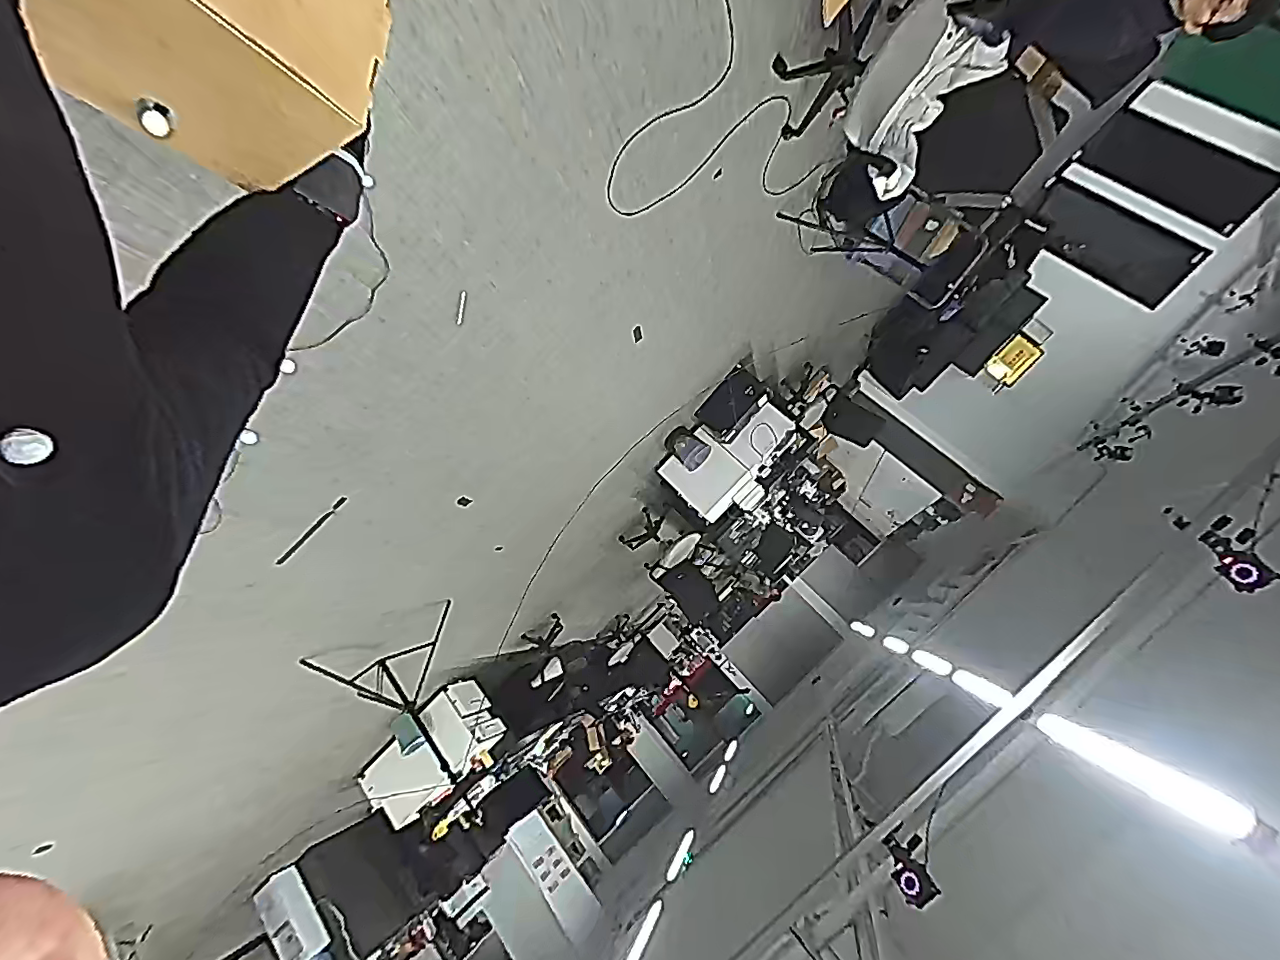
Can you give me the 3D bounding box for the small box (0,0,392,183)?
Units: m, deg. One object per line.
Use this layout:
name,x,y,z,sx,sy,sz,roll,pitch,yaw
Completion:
small box,-0.320,-0.356,0.403,0.179,0.176,0.168,19,72,-56
